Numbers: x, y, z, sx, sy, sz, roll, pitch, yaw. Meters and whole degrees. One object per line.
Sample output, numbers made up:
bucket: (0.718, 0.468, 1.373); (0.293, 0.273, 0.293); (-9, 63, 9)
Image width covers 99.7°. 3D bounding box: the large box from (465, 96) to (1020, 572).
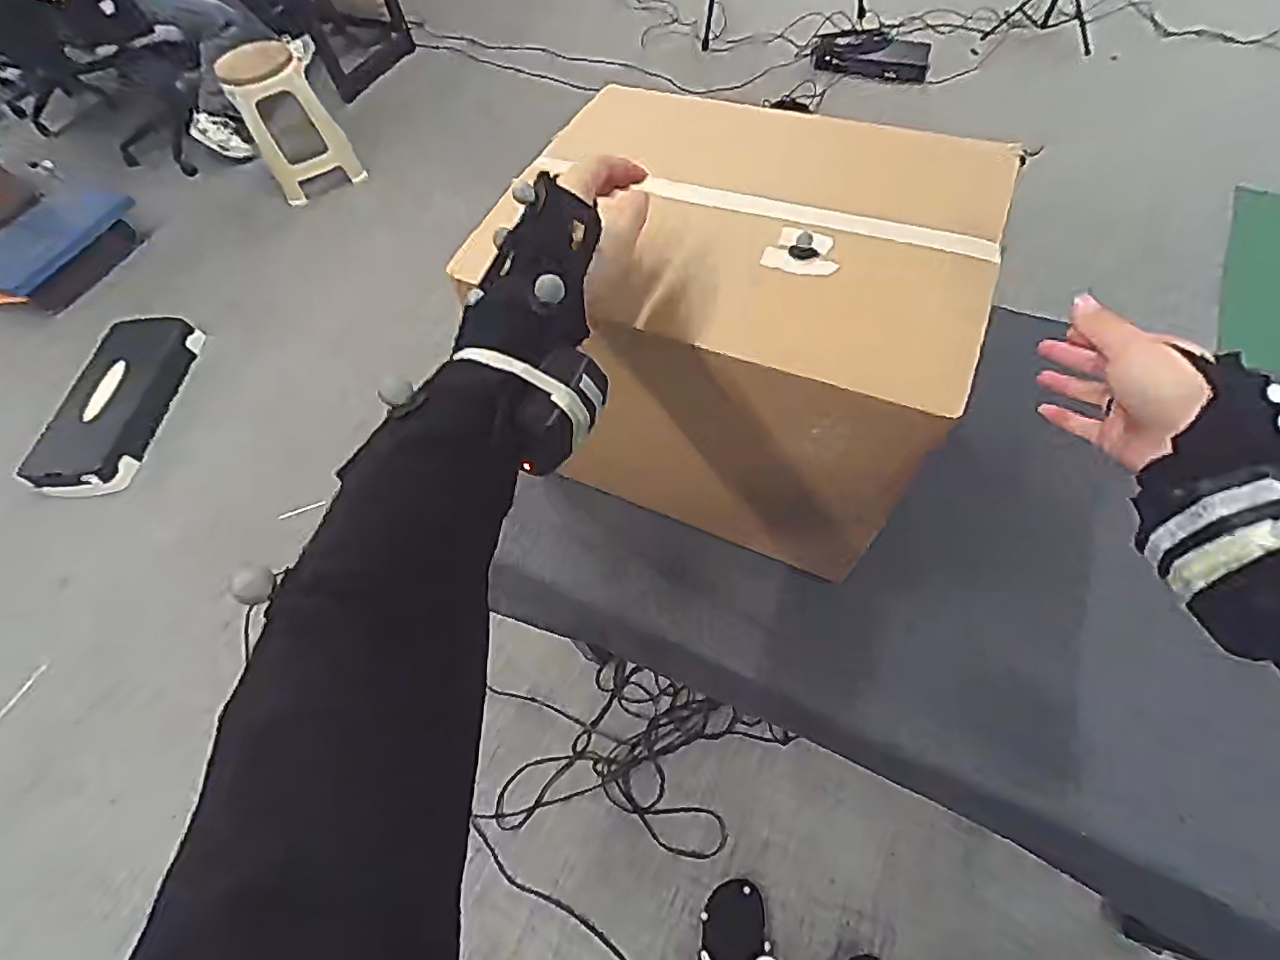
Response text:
large box: (0.101, -0.151, 0.589); (0.408, 0.320, 0.320); (20, 65, 15)
